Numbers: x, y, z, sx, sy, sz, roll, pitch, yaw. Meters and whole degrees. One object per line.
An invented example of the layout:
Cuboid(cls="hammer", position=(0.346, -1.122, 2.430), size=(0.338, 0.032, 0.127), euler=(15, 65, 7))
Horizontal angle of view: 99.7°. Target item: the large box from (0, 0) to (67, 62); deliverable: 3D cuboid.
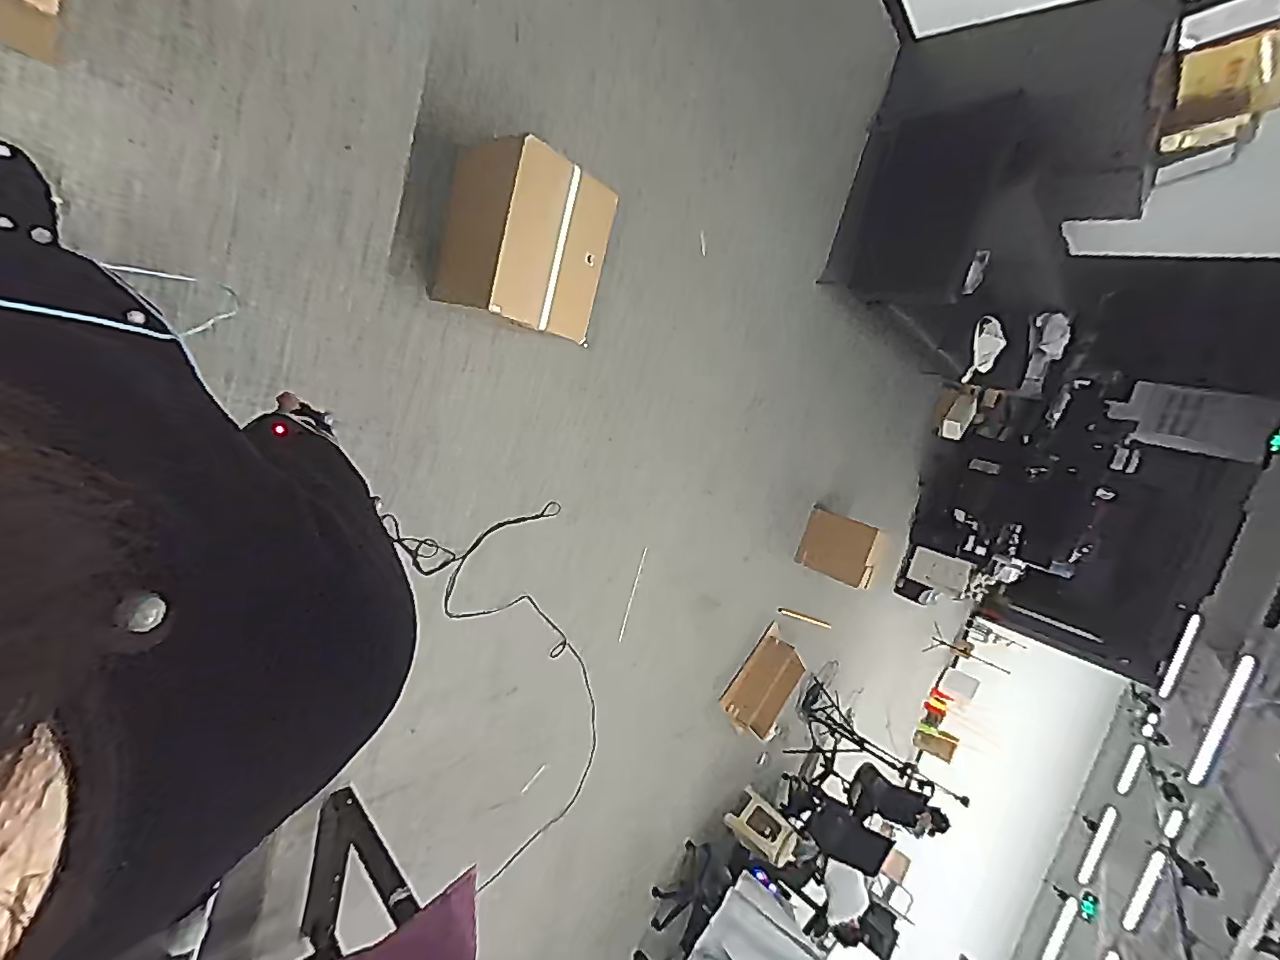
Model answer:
Cuboid(cls="large box", position=(-0.938, -0.860, 0.679), size=(0.320, 0.320, 0.408), euler=(6, 102, -49))
